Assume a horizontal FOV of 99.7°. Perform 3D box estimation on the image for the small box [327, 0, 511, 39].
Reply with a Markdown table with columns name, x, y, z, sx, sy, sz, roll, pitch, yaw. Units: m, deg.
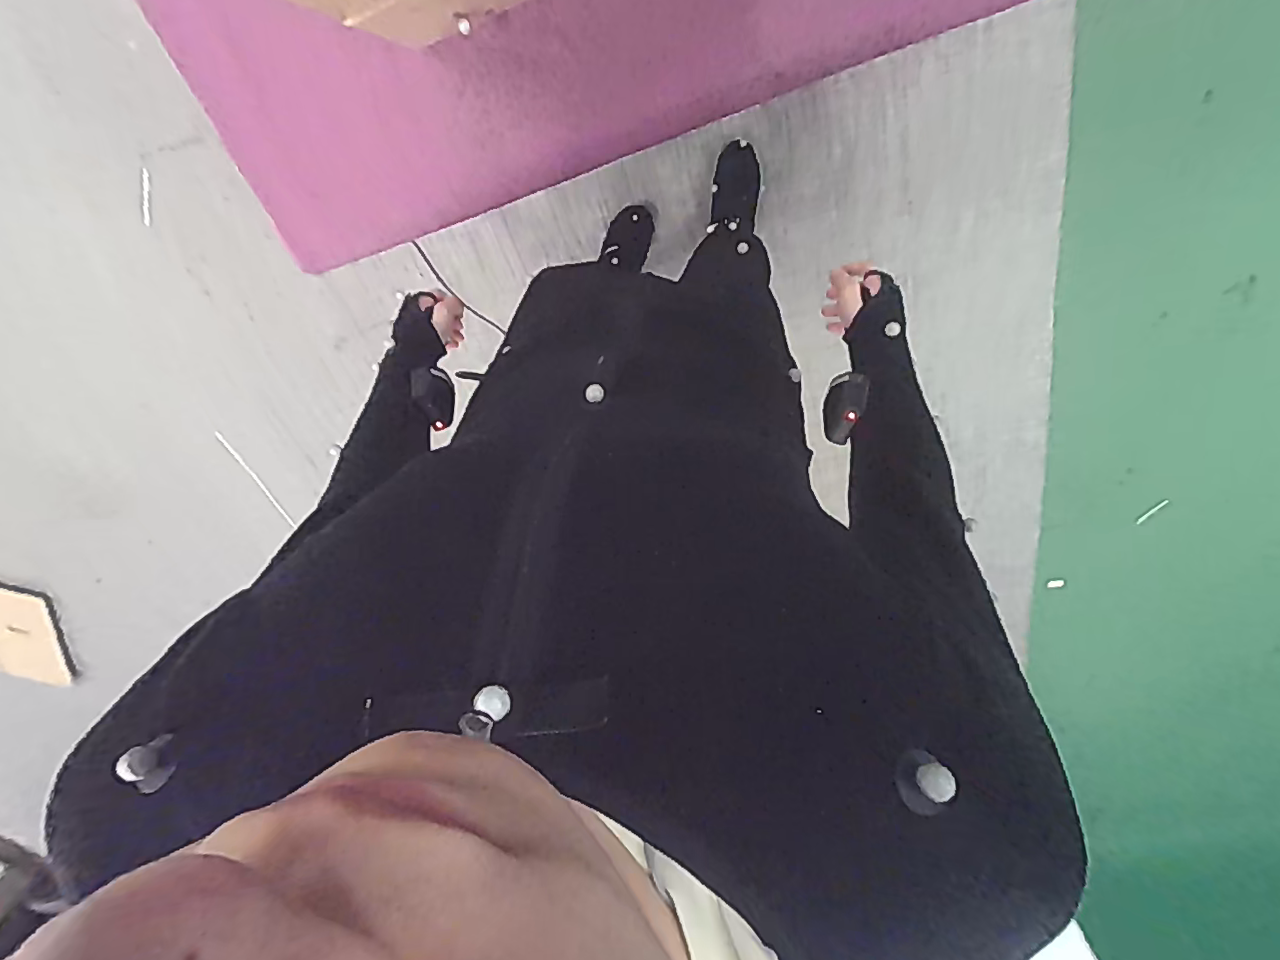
| name | x | y | z | sx | sy | sz | roll | pitch | yaw |
| --- | --- | --- | --- | --- | --- | --- | --- | --- | --- |
| small box | -0.220 | -0.550 | 0.496 | 0.168 | 0.176 | 0.179 | -14 | 121 | 11 |
